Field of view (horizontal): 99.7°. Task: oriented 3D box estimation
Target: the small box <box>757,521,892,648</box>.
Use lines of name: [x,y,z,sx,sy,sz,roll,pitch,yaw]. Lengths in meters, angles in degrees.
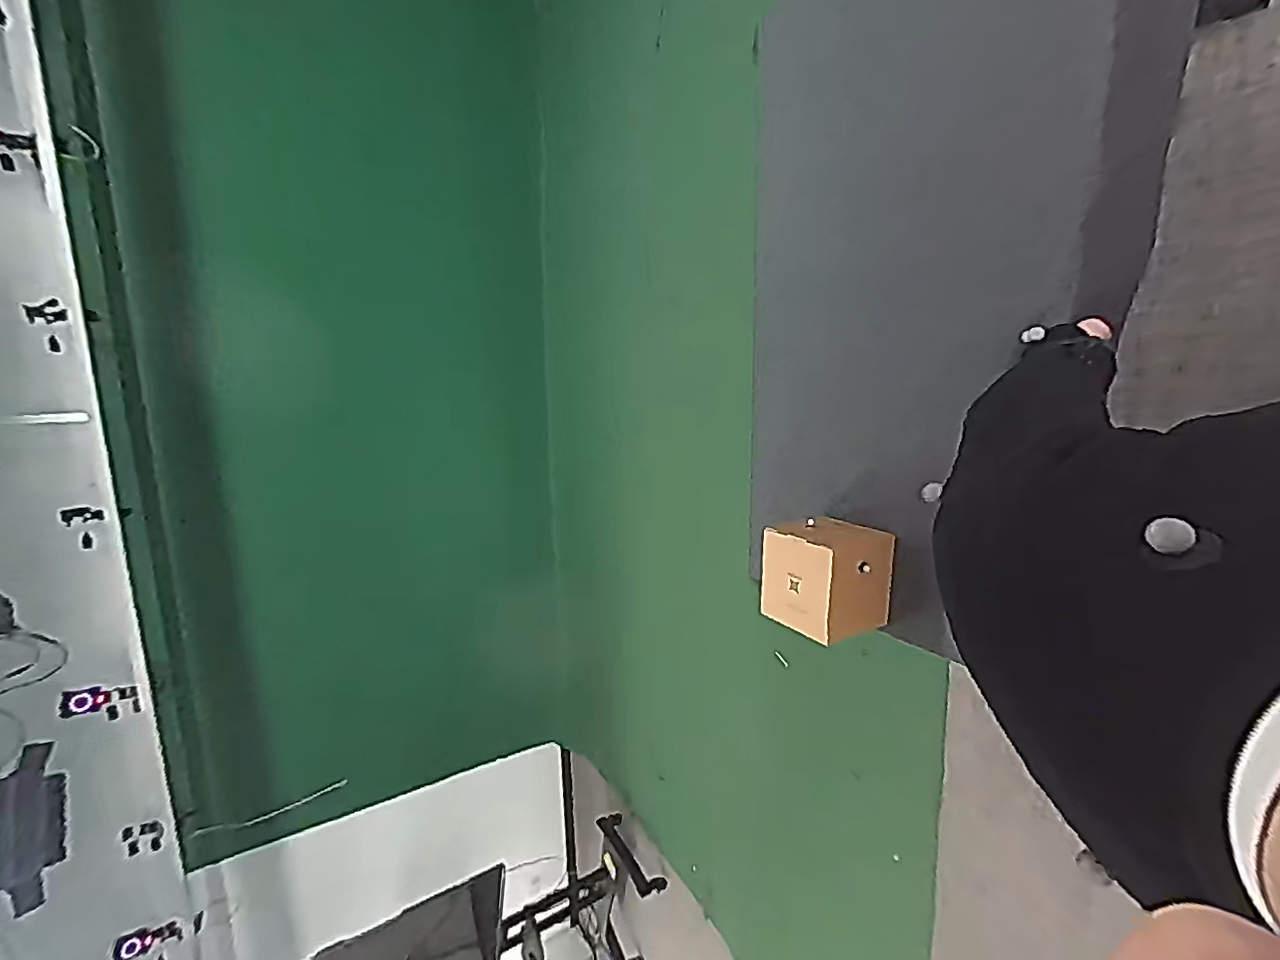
small box: [0.342,0.181,1.006,0.168,0.176,0.179,20,112,58]
